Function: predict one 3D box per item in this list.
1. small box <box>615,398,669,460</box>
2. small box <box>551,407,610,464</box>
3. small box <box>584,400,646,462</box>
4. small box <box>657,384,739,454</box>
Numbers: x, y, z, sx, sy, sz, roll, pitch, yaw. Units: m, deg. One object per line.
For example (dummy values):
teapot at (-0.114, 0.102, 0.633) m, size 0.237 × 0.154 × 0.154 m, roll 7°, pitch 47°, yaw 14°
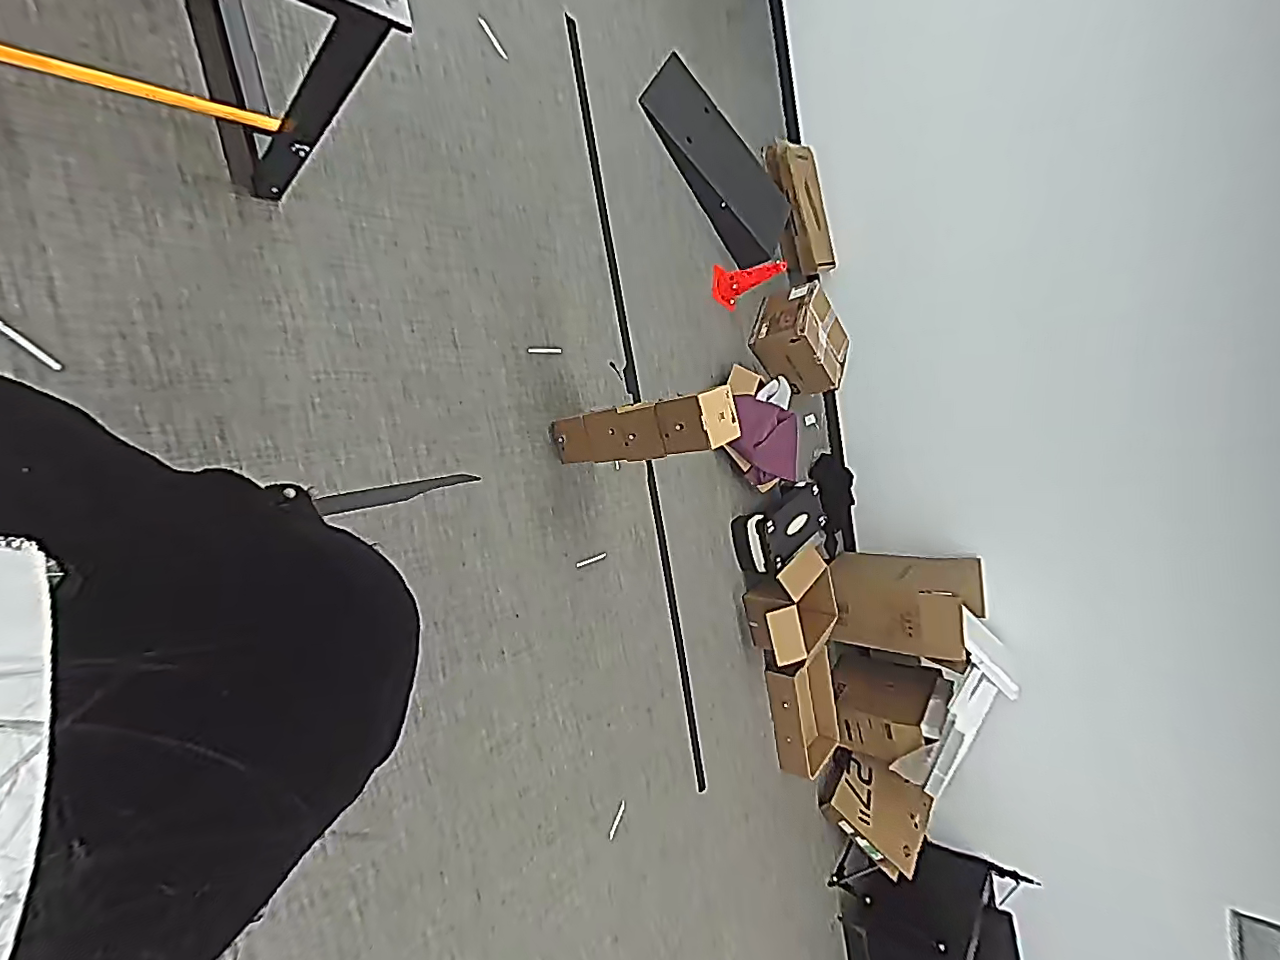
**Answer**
small box at (0.047, -0.169, 1.756) m, size 0.179 × 0.176 × 0.168 m, roll -27°, pitch 106°, yaw -45°
small box at (-0.196, -0.163, 1.979) m, size 0.179 × 0.176 × 0.168 m, roll -24°, pitch 104°, yaw -44°
small box at (-0.073, -0.168, 1.870) m, size 0.168 × 0.176 × 0.179 m, roll -22°, pitch 103°, yaw -46°
small box at (0.171, -0.184, 1.650) m, size 0.179 × 0.176 × 0.168 m, roll -25°, pitch 104°, yaw -45°
